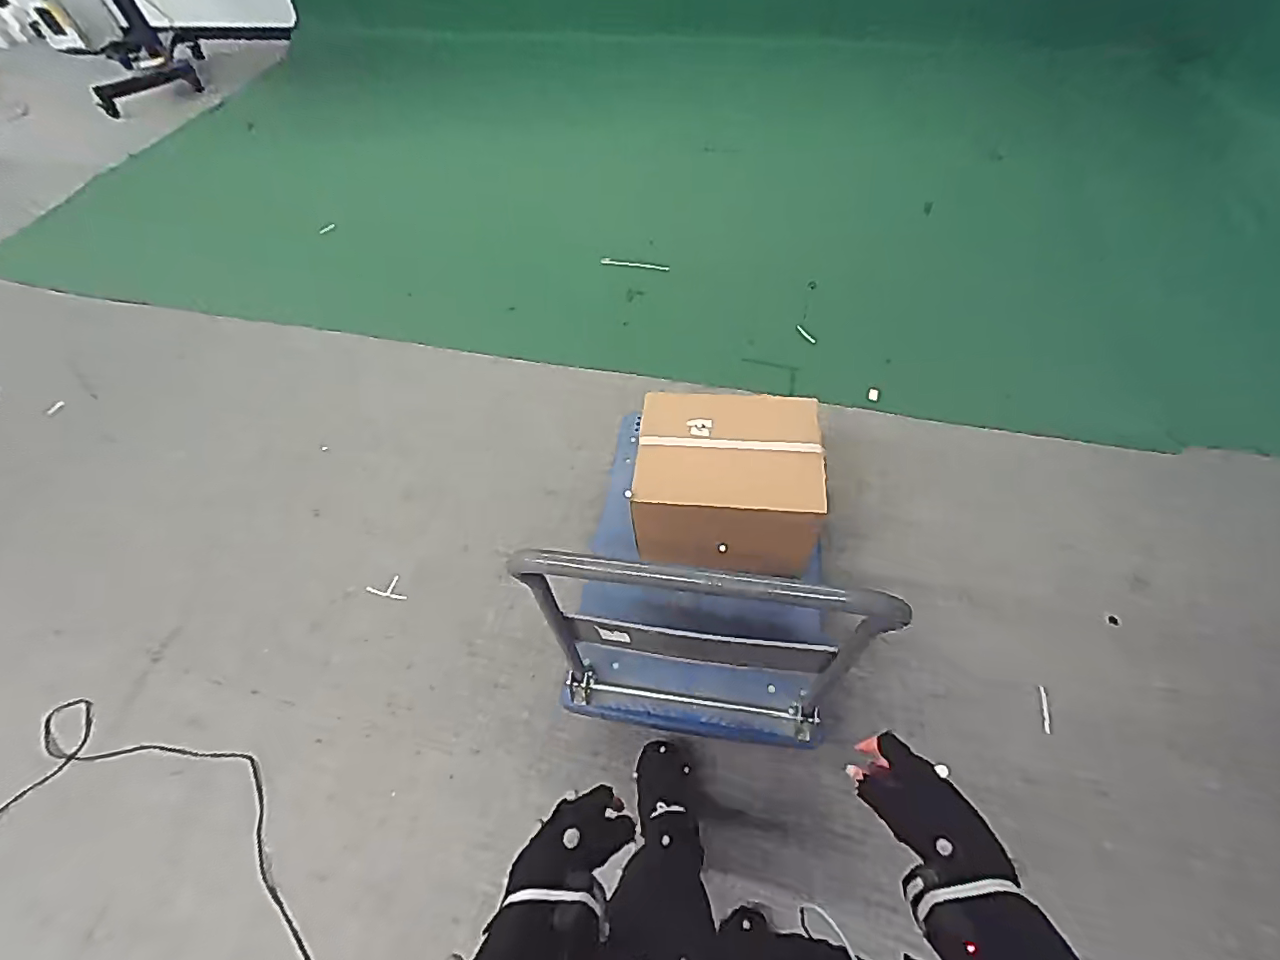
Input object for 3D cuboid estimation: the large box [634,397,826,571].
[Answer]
[{"bbox_3d":[0.212,0.015,1.328,0.408,0.320,0.320,3,55,8],"label":"large box"}]
